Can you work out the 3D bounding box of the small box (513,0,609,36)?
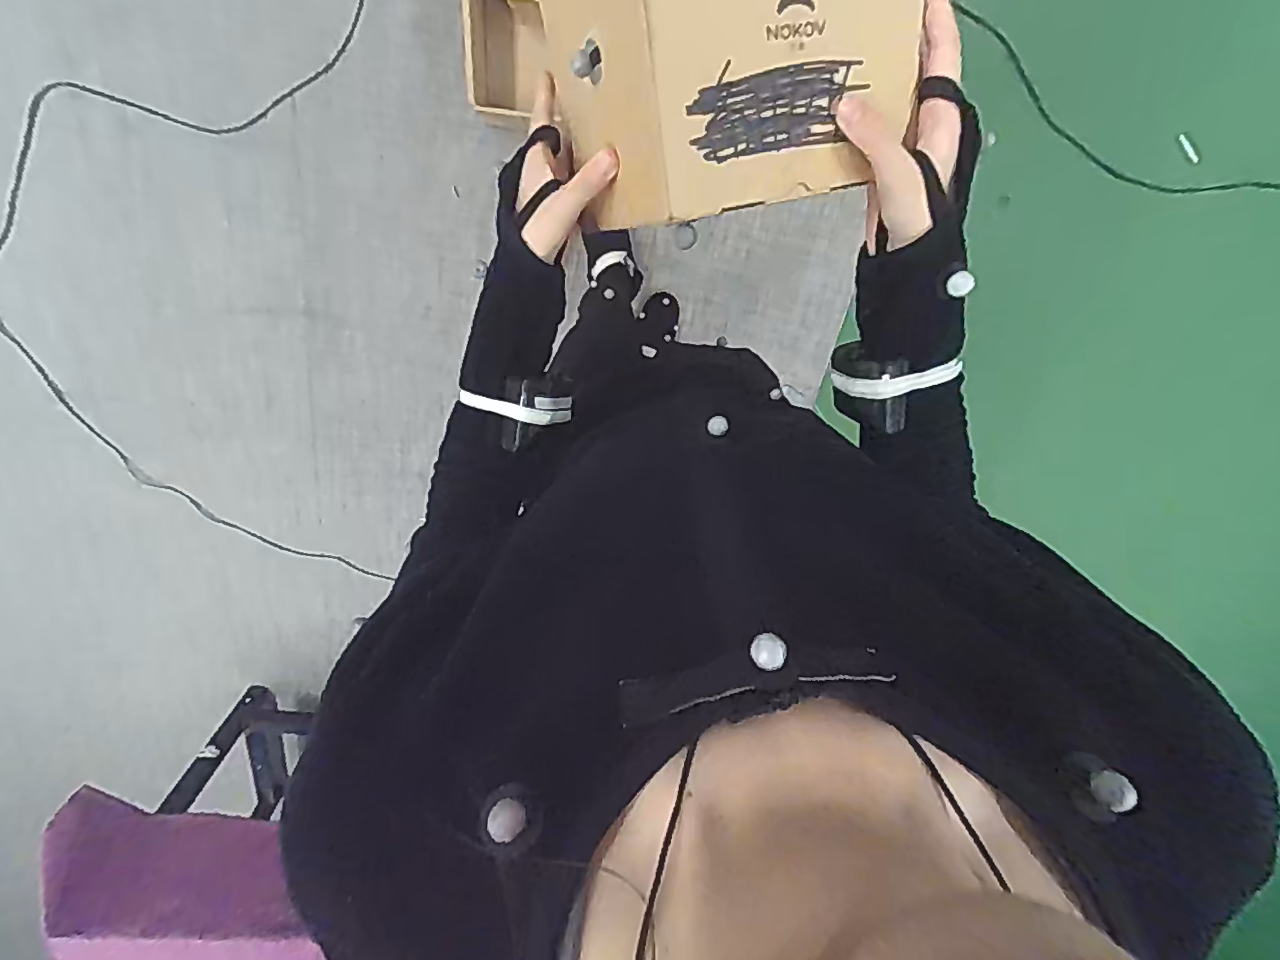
[{"bbox_3d":[-0.142,-0.929,0.969,0.179,0.176,0.168,3,118,-6],"label":"small box"}]
